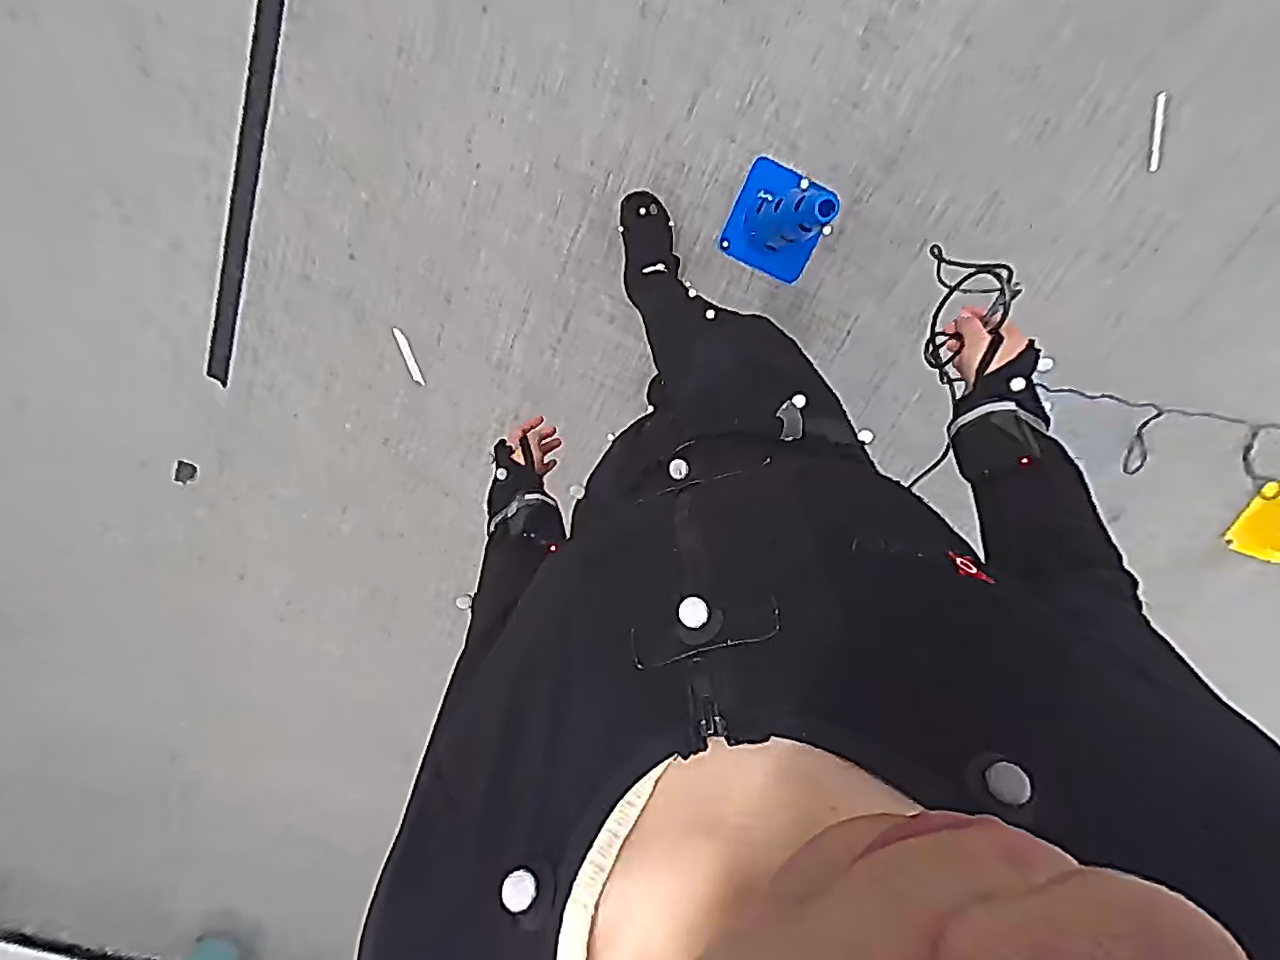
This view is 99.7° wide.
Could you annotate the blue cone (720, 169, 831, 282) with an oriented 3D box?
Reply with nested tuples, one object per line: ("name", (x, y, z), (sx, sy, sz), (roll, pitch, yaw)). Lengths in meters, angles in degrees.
("blue cone", (0.286, -0.481, 1.009), (0.193, 0.380, 0.192), (23, 111, -8))
